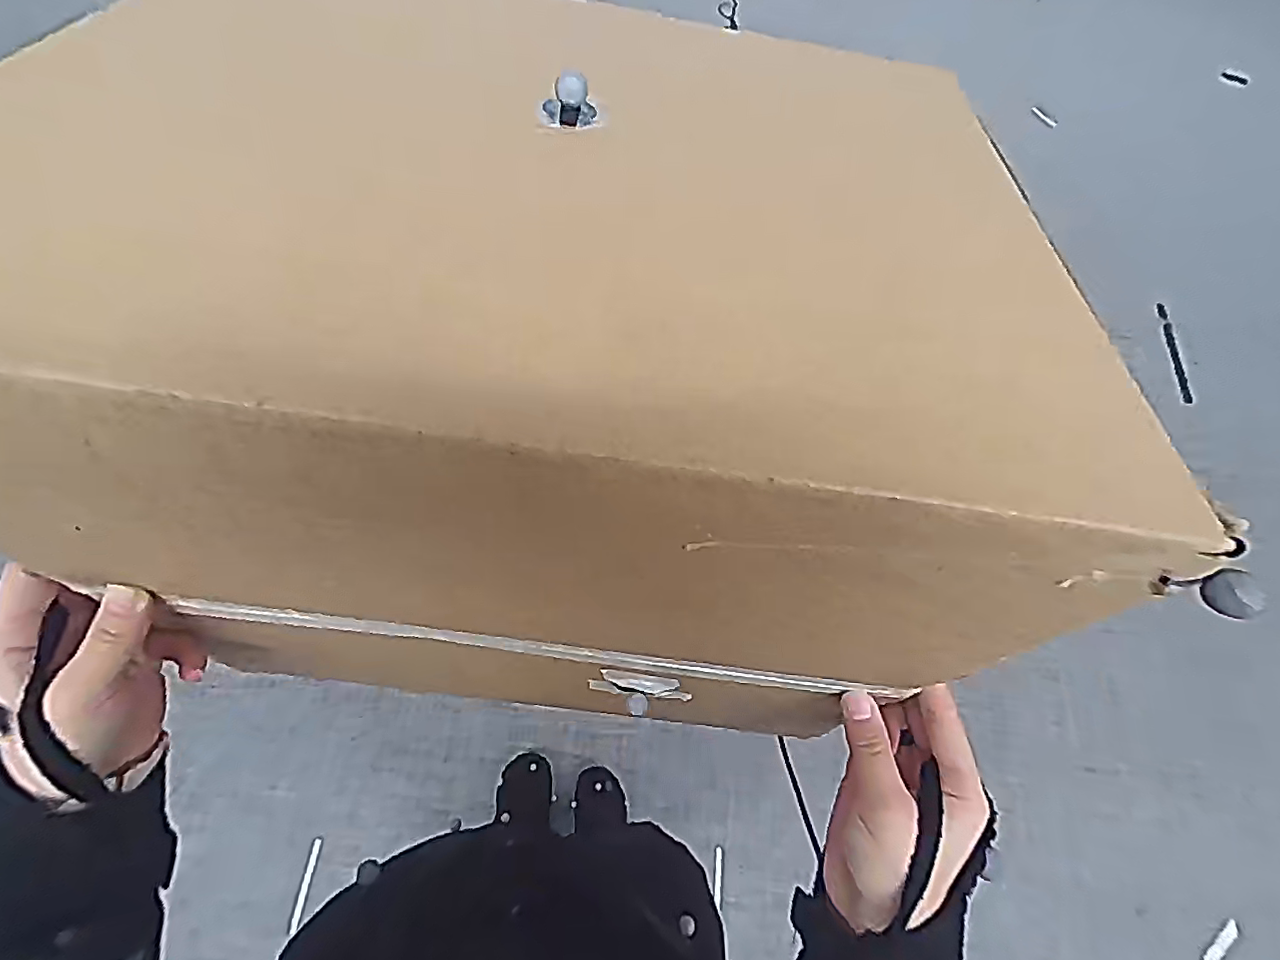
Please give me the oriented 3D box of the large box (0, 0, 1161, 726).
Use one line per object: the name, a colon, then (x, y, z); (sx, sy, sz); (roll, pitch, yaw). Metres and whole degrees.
large box: (-0.052, -0.051, 0.352); (0.408, 0.320, 0.320); (7, 57, -3)
